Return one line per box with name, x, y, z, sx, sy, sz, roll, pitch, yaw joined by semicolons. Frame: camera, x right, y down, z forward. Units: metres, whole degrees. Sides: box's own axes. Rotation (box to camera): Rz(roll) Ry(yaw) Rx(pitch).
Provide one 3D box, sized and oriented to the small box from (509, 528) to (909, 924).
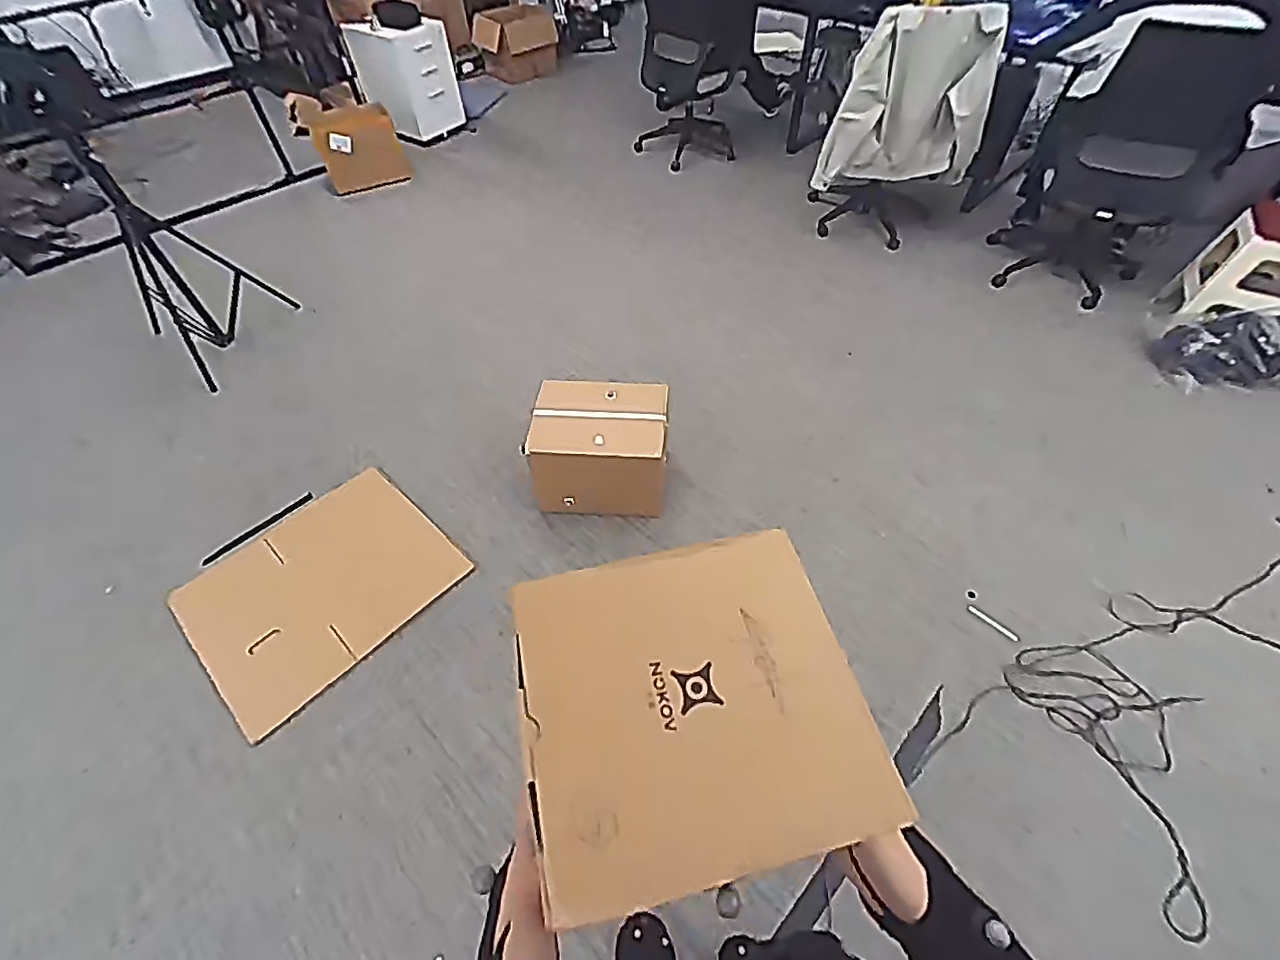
small box;0.025;0.157;0.350;0.179;0.176;0.168;-11;55;-9
